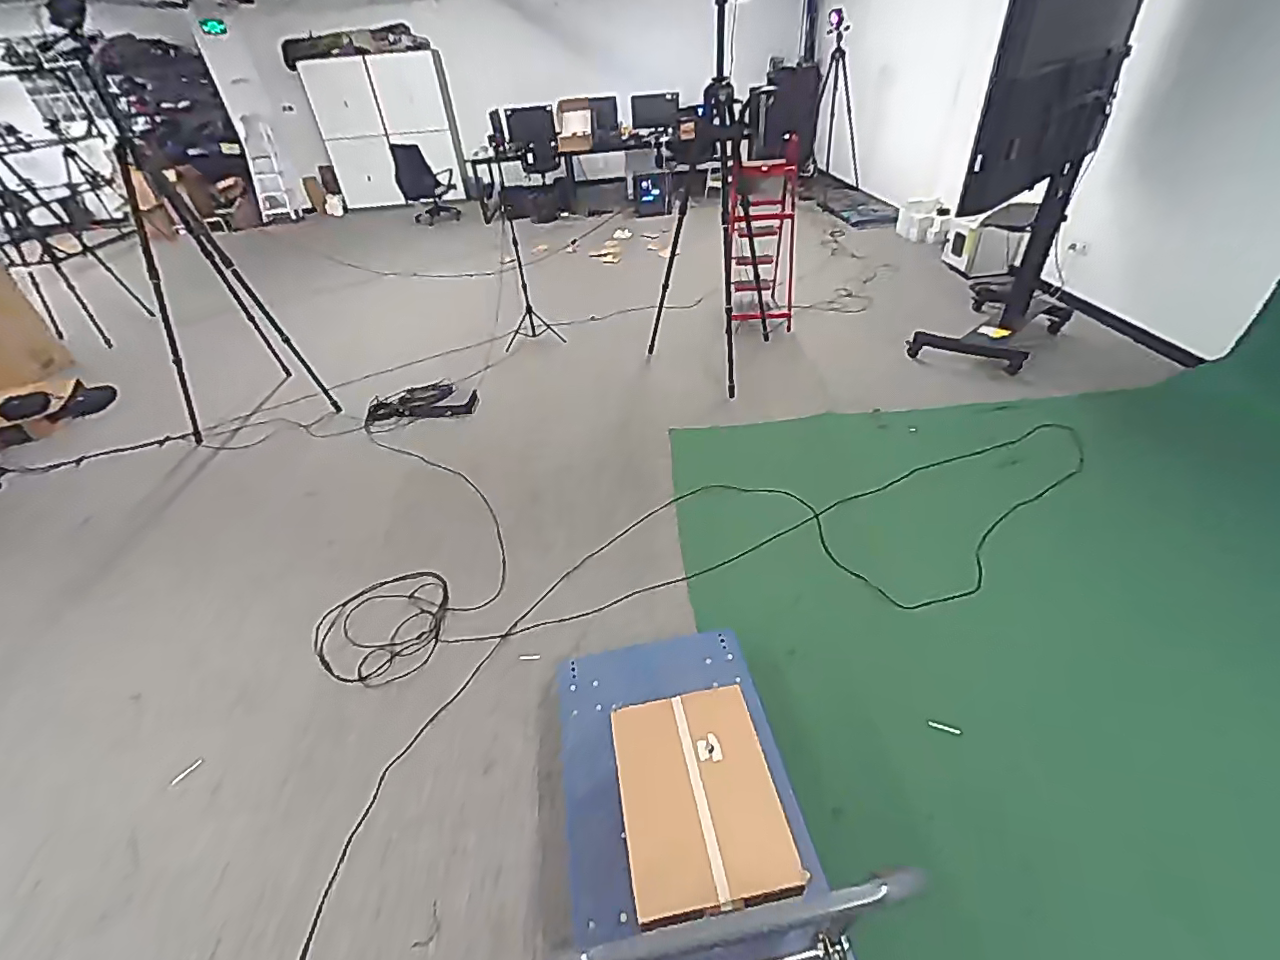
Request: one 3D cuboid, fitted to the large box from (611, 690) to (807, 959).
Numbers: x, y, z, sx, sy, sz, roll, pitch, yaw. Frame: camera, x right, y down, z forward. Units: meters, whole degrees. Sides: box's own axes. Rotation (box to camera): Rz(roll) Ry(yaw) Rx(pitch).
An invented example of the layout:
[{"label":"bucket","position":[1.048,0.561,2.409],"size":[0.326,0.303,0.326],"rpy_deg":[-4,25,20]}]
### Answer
[{"label":"large box","position":[0.131,0.756,1.197],"size":[0.320,0.320,0.408],"rpy_deg":[-9,37,-6]}]
